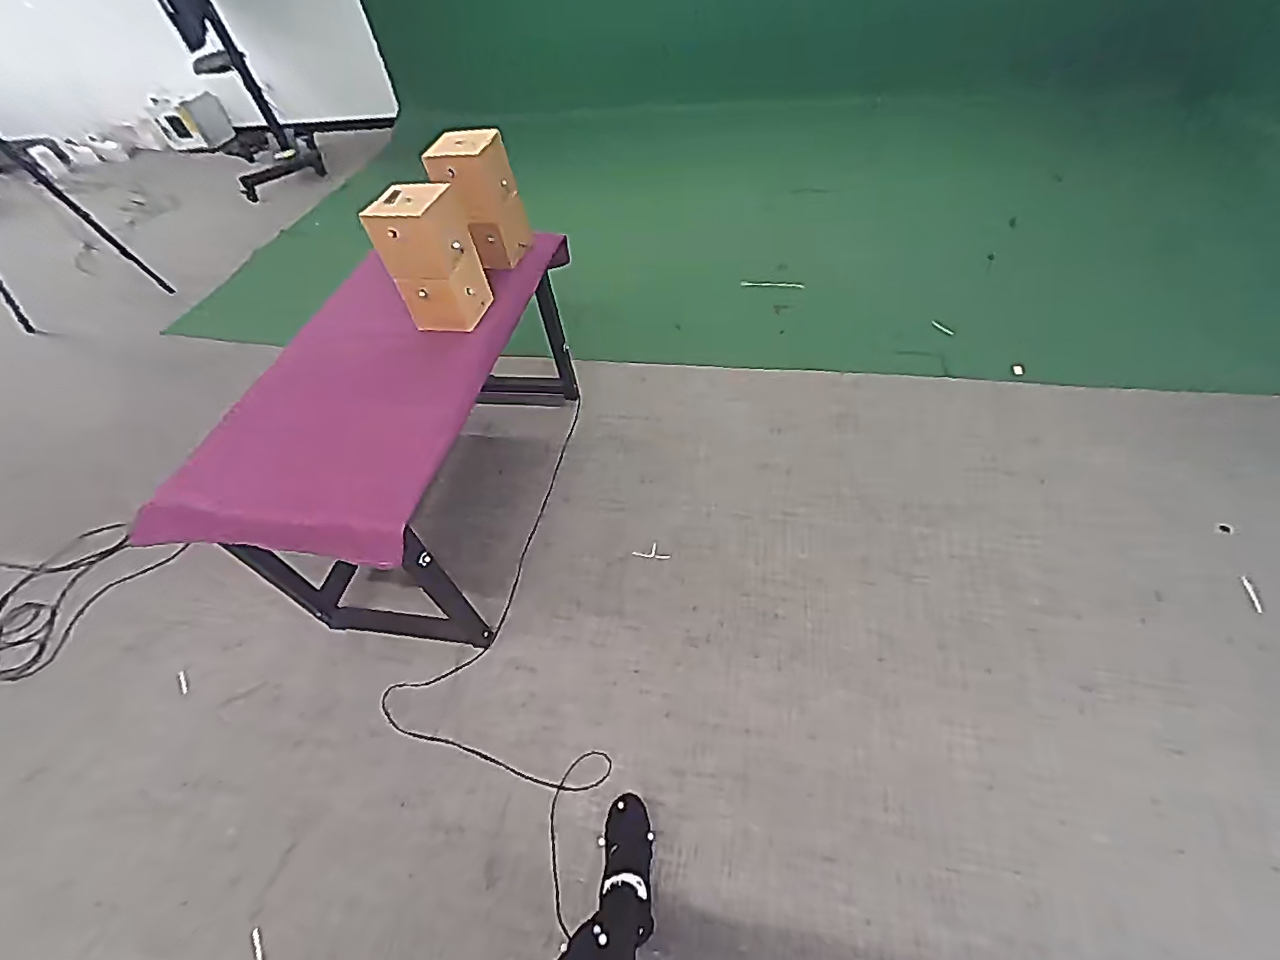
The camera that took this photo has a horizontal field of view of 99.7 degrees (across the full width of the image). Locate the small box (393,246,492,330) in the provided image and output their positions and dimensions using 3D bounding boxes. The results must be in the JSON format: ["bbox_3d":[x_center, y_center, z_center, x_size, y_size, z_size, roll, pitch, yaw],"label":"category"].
[{"bbox_3d":[-0.542,-0.538,1.517,0.179,0.176,0.168,6,53,14],"label":"small box"}]

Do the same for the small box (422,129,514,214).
[{"bbox_3d":[-0.494,-0.897,1.578,0.179,0.176,0.168,6,54,13],"label":"small box"}]

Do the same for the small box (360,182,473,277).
[{"bbox_3d":[-0.565,-0.641,1.391,0.179,0.176,0.168,7,54,14],"label":"small box"}]
